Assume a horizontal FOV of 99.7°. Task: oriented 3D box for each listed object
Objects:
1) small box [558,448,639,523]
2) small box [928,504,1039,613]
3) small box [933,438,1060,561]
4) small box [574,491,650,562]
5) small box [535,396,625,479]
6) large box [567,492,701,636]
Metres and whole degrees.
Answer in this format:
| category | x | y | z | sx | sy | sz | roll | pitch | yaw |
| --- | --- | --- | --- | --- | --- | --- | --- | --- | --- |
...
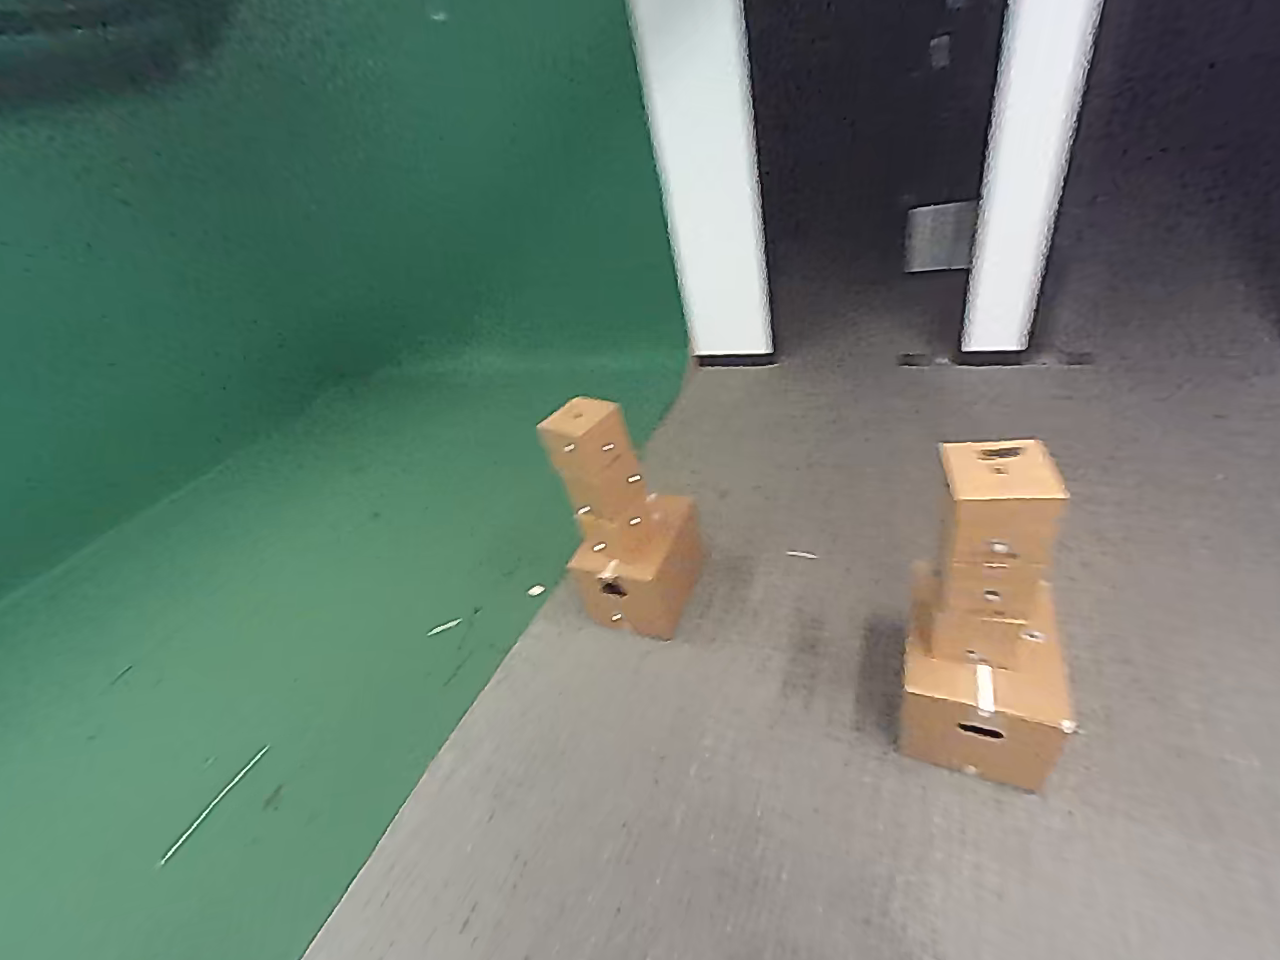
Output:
| category | x | y | z | sx | sy | sz | roll | pitch | yaw |
| --- | --- | --- | --- | --- | --- | --- | --- | --- | --- |
| small box | -0.121 | 0.003 | 1.679 | 0.168 | 0.176 | 0.179 | 16 | 48 | 37 |
| small box | 0.721 | 0.165 | 1.154 | 0.168 | 0.176 | 0.179 | -2 | 40 | 20 |
| small box | 0.681 | 0.037 | 1.058 | 0.168 | 0.176 | 0.179 | -3 | 39 | 20 |
| small box | -0.083 | 0.135 | 1.768 | 0.168 | 0.176 | 0.179 | 13 | 46 | 34 |
| small box | -0.169 | -0.122 | 1.583 | 0.179 | 0.176 | 0.168 | 17 | 48 | 38 |
| large box | -0.002 | 0.290 | 1.944 | 0.320 | 0.320 | 0.408 | 5 | 41 | 26 |
